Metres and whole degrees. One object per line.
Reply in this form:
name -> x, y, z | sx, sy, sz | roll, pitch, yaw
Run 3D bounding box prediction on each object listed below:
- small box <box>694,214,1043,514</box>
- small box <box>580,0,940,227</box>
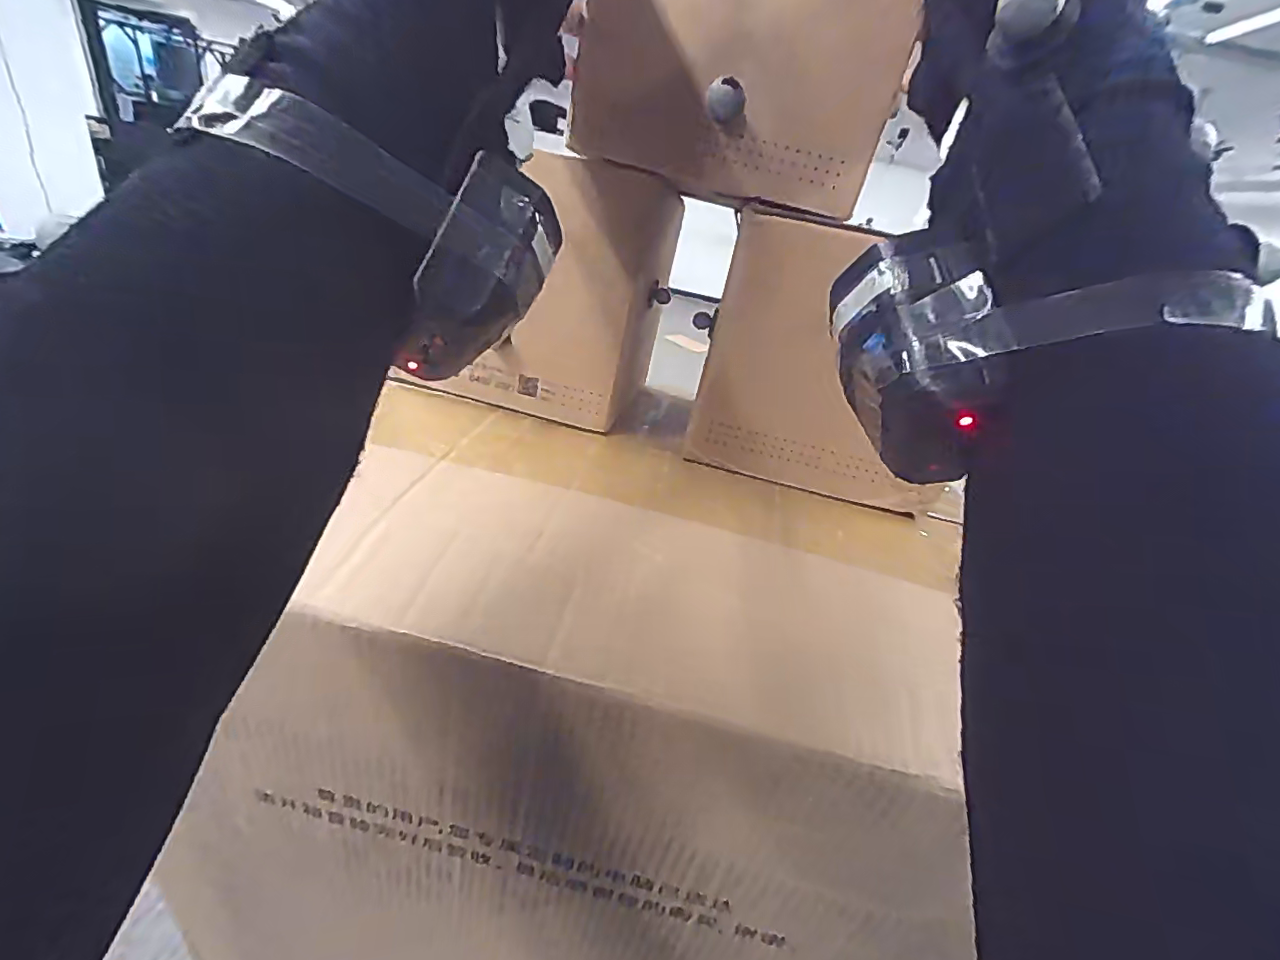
small box -> 0.147, -0.092, 0.421 | 0.179, 0.176, 0.168 | 15, 25, 3
small box -> 0.077, -0.270, 0.360 | 0.179, 0.176, 0.168 | 18, 23, 3
